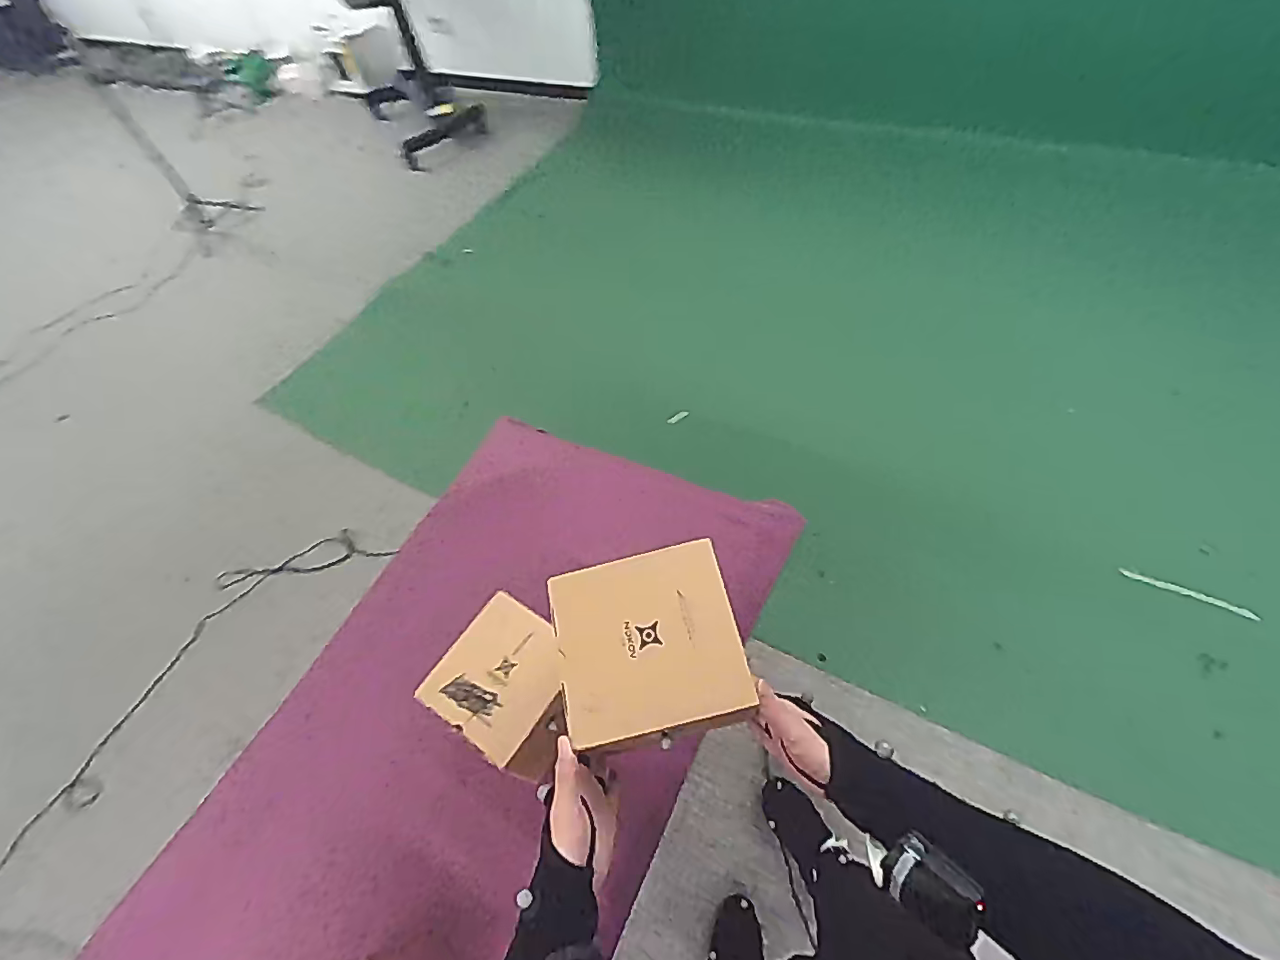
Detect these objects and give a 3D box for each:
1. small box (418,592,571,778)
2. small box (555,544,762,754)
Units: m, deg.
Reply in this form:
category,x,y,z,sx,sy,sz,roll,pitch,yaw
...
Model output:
category,x,y,z,sx,sy,sz,roll,pitch,yaw
small box,-0.174,0.303,0.786,0.168,0.176,0.179,27,62,22
small box,0.022,0.190,0.583,0.179,0.176,0.168,-13,62,2
